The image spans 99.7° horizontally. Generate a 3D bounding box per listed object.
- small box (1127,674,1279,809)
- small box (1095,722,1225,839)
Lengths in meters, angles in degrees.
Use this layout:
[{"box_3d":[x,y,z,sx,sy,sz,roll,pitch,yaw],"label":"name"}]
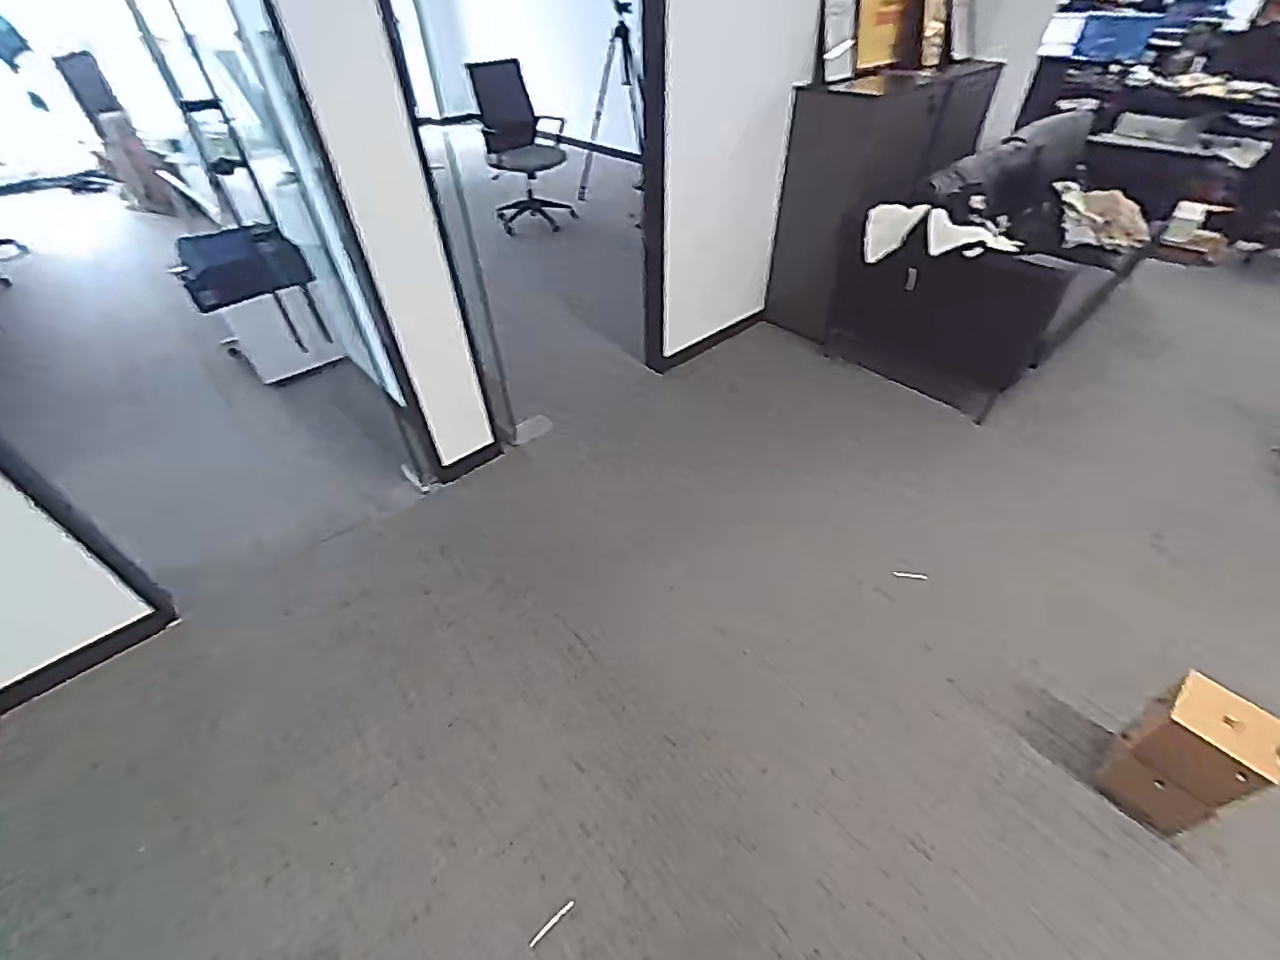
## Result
[{"box_3d":[1.221,0.568,1.174,0.168,0.176,0.179,-32,51,-28],"label":"small box"},{"box_3d":[1.230,0.695,1.276,0.179,0.176,0.168,-31,50,-29],"label":"small box"}]
